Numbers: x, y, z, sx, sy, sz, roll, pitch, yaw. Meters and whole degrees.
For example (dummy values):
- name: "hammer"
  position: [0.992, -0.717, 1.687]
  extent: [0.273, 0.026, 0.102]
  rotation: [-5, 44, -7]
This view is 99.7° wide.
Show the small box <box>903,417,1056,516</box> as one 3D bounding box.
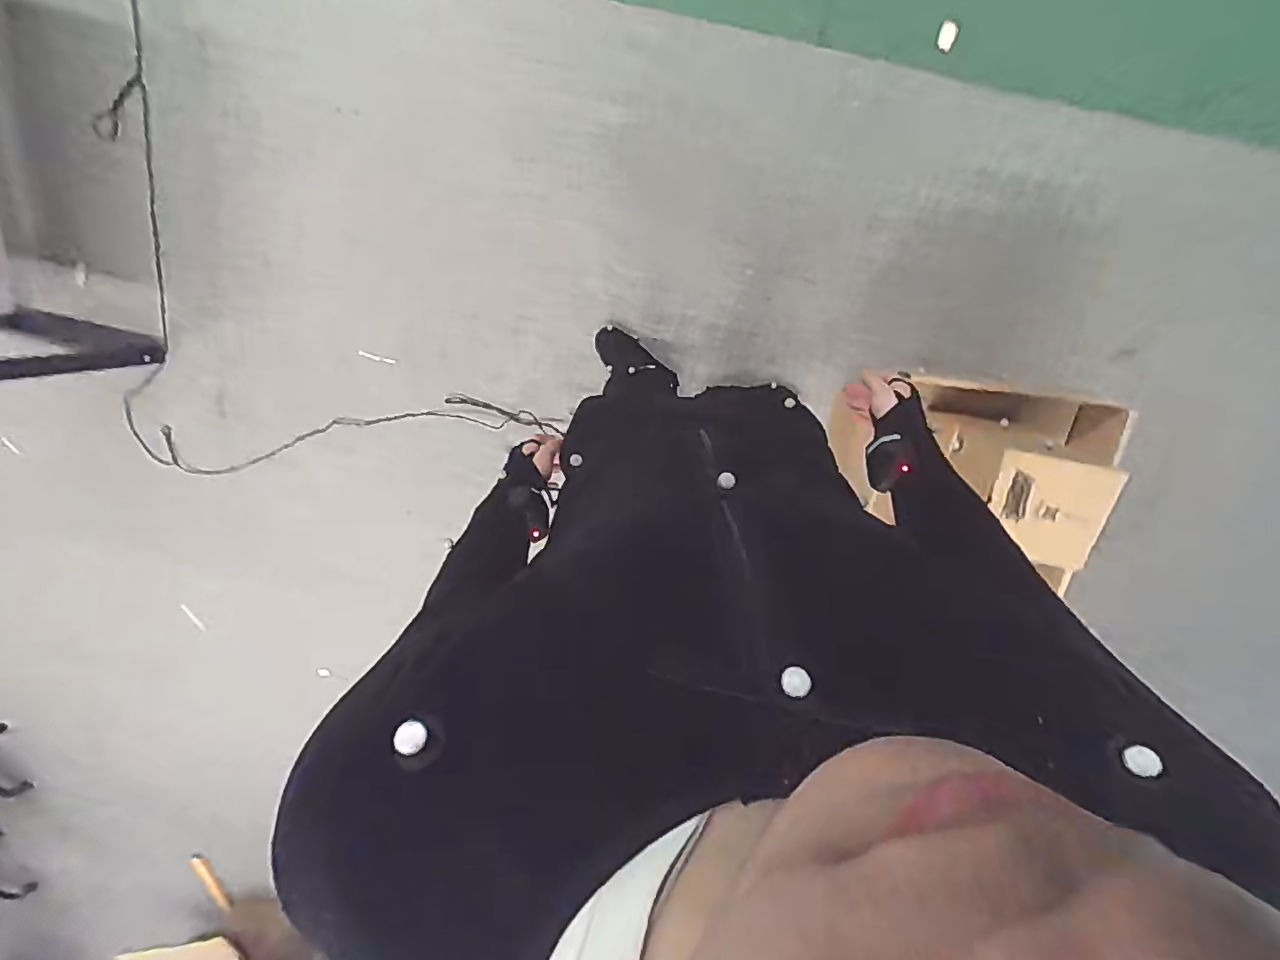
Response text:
- name: "small box"
  position: [0.636, -0.019, 1.042]
  extent: [0.179, 0.176, 0.168]
  rotation: [9, 109, 4]

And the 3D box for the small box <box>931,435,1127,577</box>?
- name: "small box"
  position: [0.616, 0.033, 0.887]
  extent: [0.179, 0.176, 0.168]
  rotation: [13, 109, 3]
